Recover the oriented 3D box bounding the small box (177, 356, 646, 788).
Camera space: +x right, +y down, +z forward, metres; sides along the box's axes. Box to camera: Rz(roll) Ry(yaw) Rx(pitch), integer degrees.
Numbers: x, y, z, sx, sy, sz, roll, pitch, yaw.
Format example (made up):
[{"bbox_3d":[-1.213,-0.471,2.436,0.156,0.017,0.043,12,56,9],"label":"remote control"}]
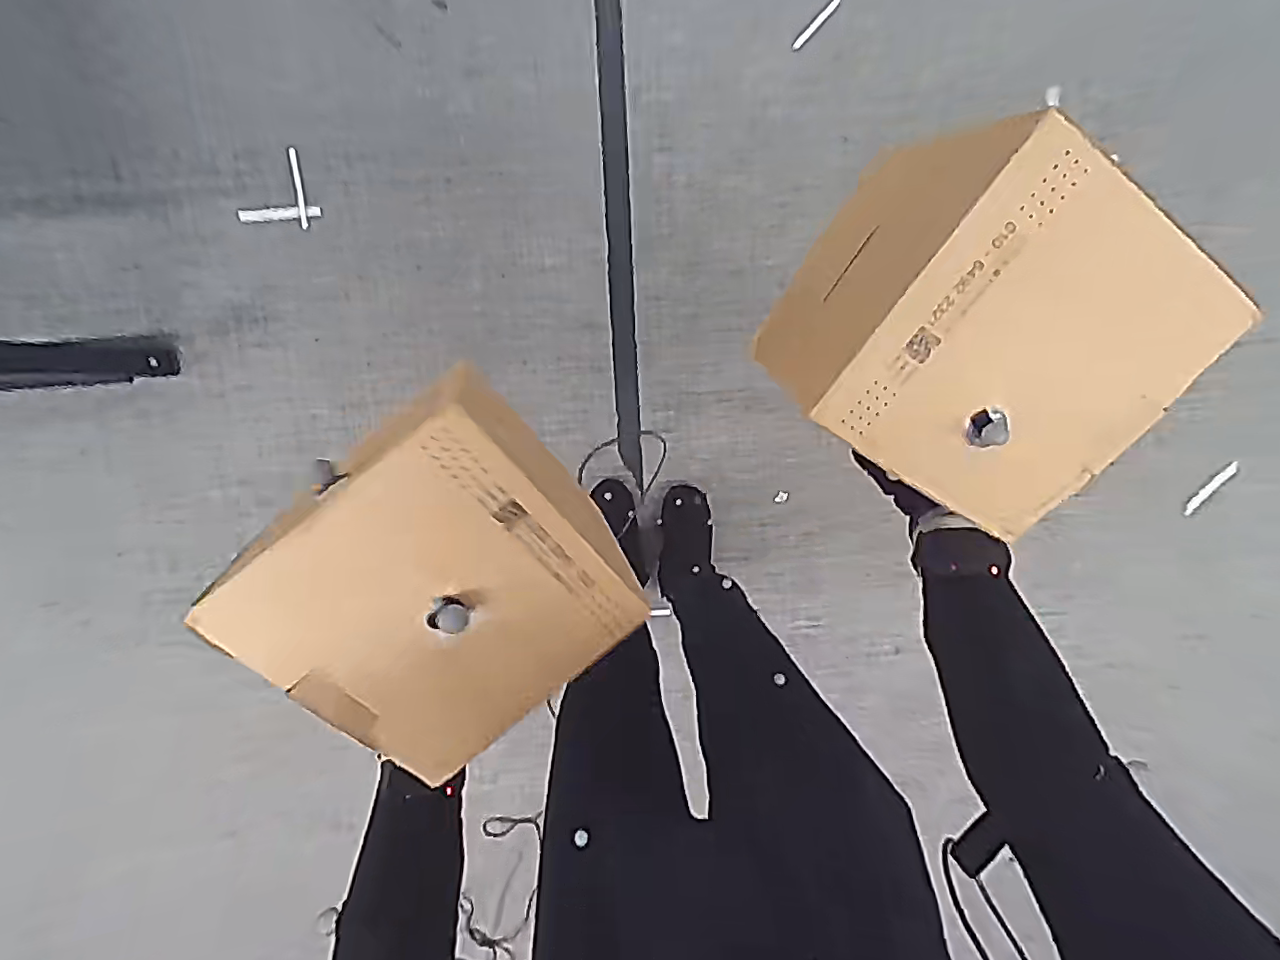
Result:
[{"bbox_3d":[-0.117,0.039,0.346,0.176,0.179,0.168,-36,114,-1],"label":"small box"}]
